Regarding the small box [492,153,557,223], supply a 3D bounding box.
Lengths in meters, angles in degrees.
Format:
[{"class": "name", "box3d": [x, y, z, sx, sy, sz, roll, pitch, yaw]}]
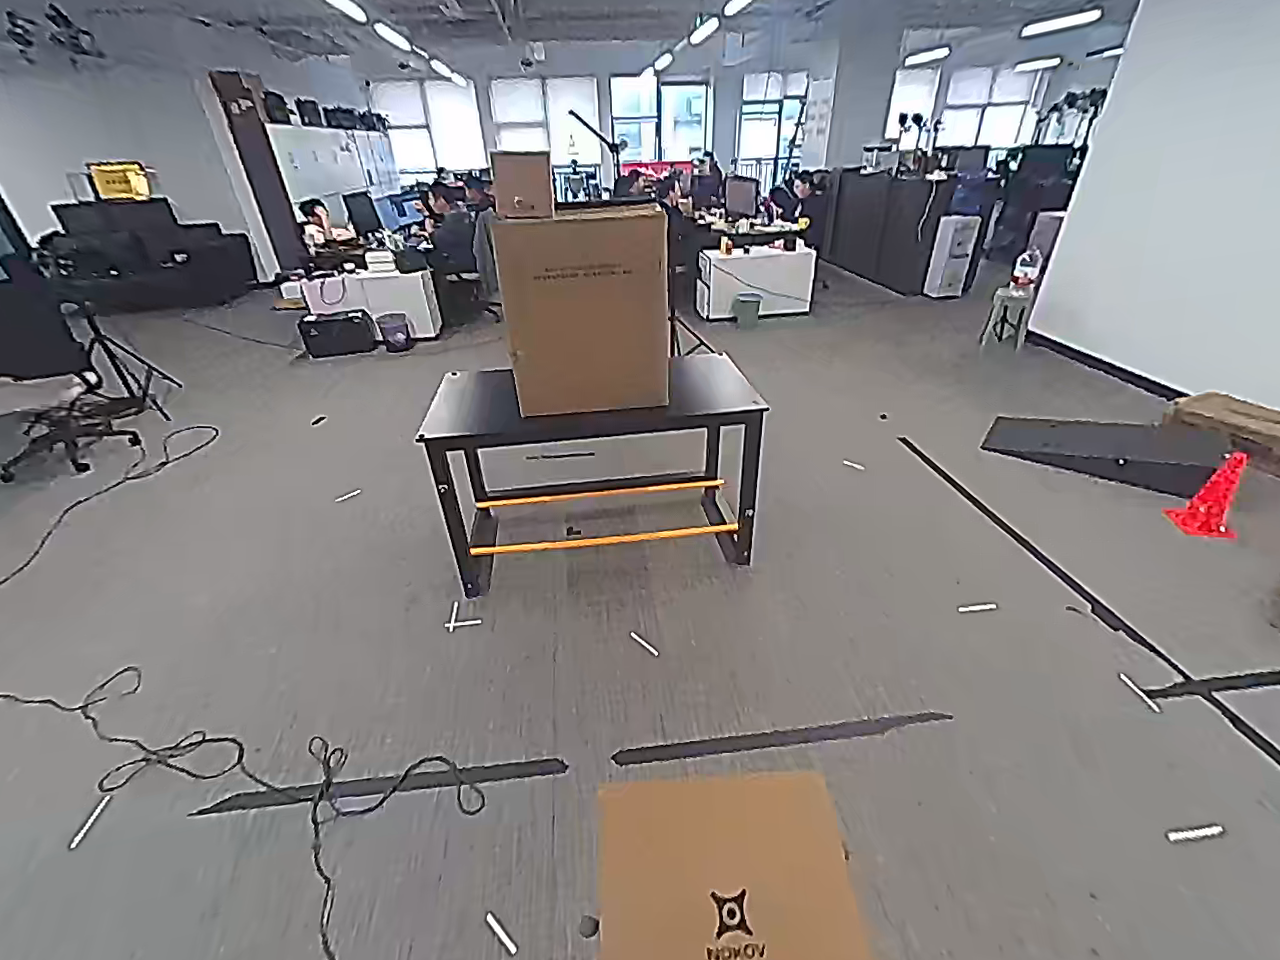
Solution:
[{"class": "small box", "box3d": [-0.339, -0.872, 1.610, 0.168, 0.176, 0.179, -4, 34, -6]}]

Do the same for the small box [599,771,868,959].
[{"class": "small box", "box3d": [0.054, 0.335, 0.392, 0.168, 0.176, 0.179, -3, 46, -2]}]
